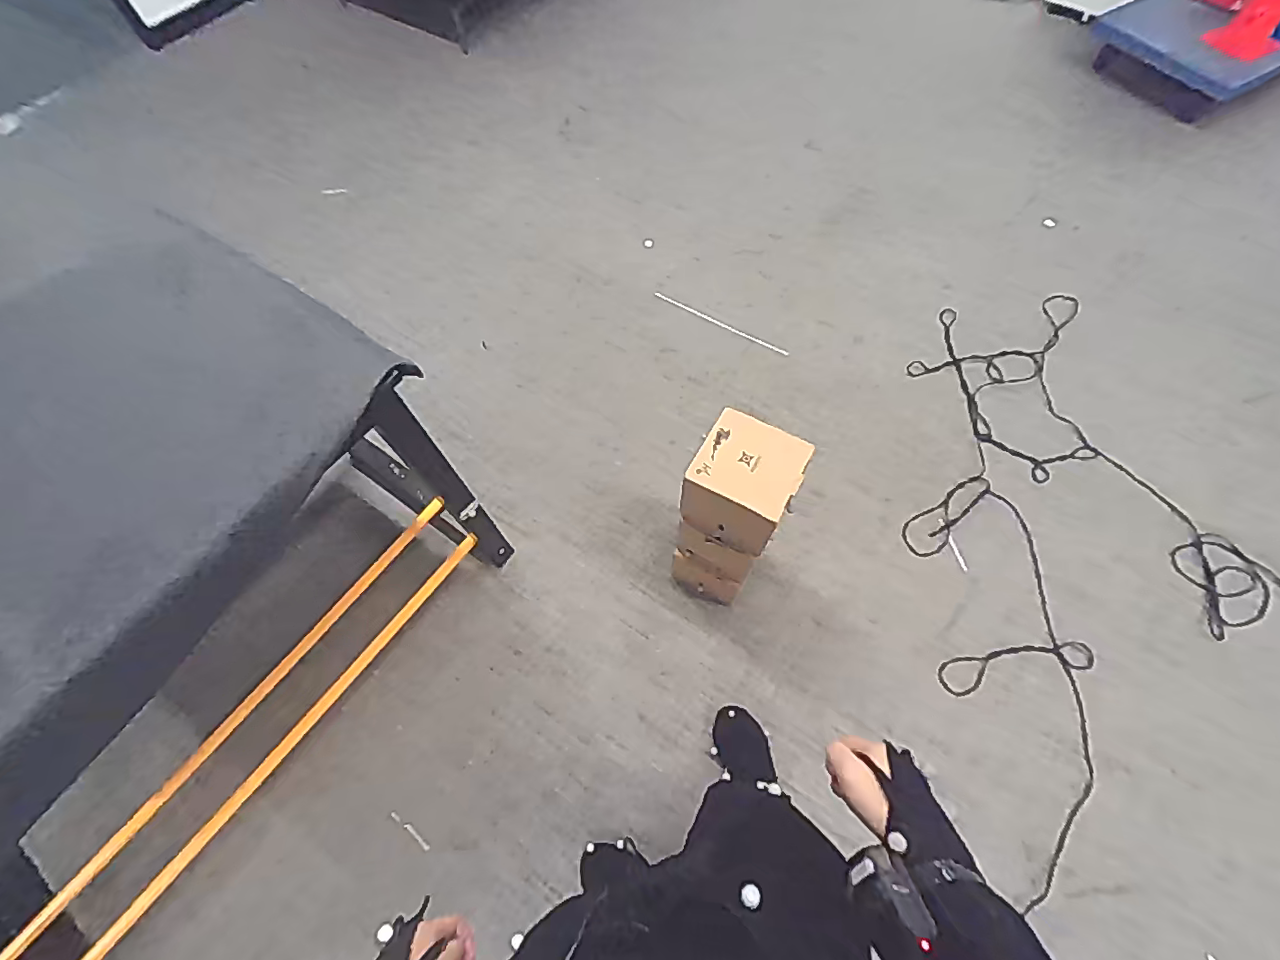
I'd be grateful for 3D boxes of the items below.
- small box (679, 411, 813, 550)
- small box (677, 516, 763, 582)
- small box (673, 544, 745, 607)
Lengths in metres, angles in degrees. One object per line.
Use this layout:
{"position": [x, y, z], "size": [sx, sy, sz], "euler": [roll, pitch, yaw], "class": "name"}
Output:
{"position": [0.185, 0.010, 0.994], "size": [0.179, 0.176, 0.168], "euler": [27, 66, 14], "class": "small box"}
{"position": [0.187, 0.089, 1.137], "size": [0.168, 0.176, 0.179], "euler": [27, 65, 14], "class": "small box"}
{"position": [0.183, 0.173, 1.279], "size": [0.168, 0.176, 0.179], "euler": [26, 67, 14], "class": "small box"}
